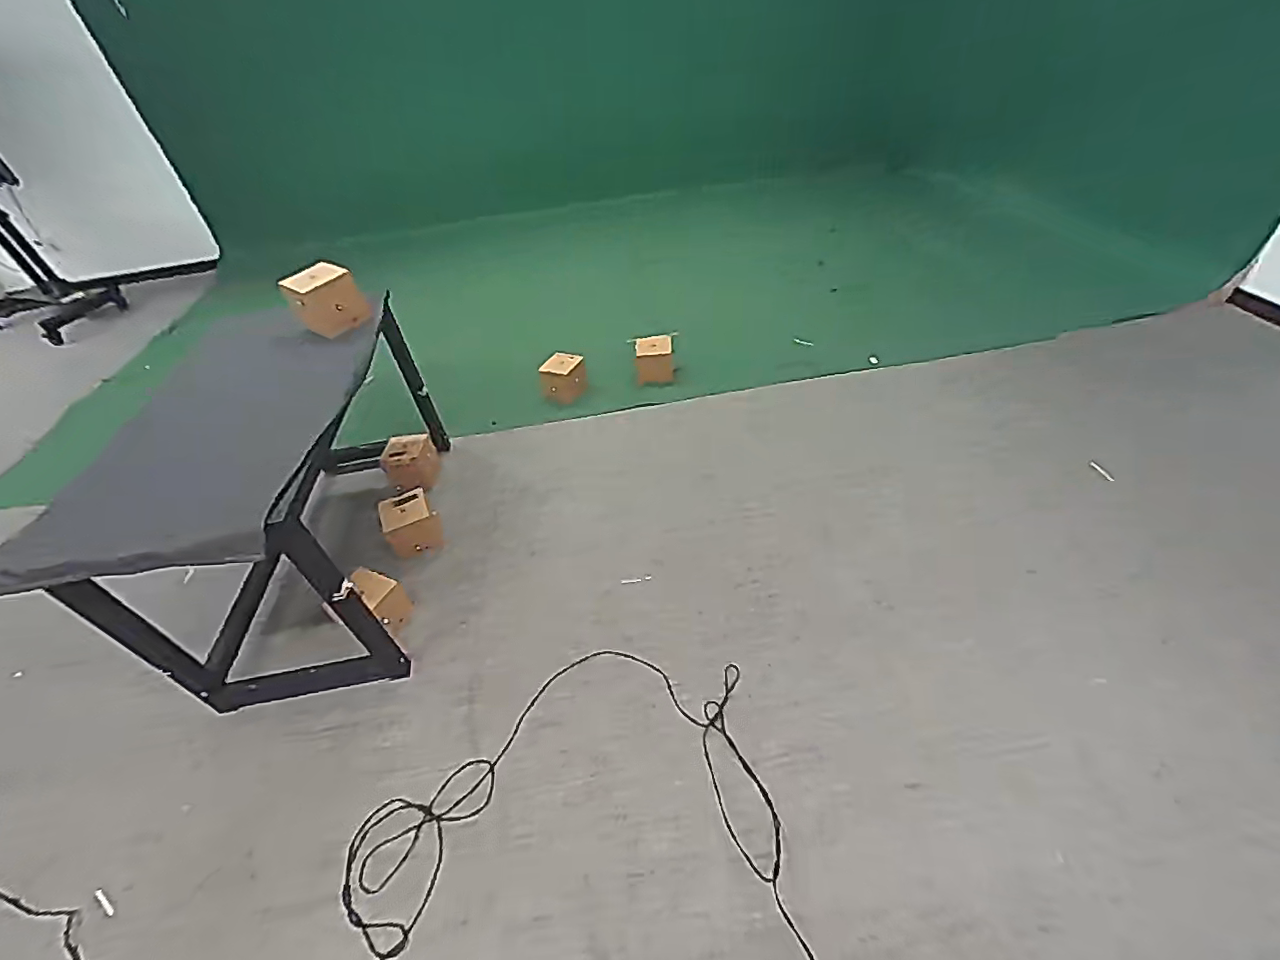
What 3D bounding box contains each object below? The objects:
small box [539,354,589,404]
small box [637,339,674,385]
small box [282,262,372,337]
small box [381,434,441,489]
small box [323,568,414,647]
[{"bbox_3d":[-0.371,-0.499,2.689,0.168,0.176,0.179,15,48,23],"label":"small box"},{"bbox_3d":[0.078,-0.593,2.726,0.179,0.176,0.168,-3,44,3],"label":"small box"},{"bbox_3d":[-1.037,-0.599,1.806,0.179,0.176,0.168,25,54,30],"label":"small box"},{"bbox_3d":[-0.972,-0.072,2.310,0.168,0.176,0.179,-6,42,1],"label":"small box"},{"bbox_3d":[-0.879,0.421,1.771,0.179,0.176,0.168,14,47,22],"label":"small box"}]
